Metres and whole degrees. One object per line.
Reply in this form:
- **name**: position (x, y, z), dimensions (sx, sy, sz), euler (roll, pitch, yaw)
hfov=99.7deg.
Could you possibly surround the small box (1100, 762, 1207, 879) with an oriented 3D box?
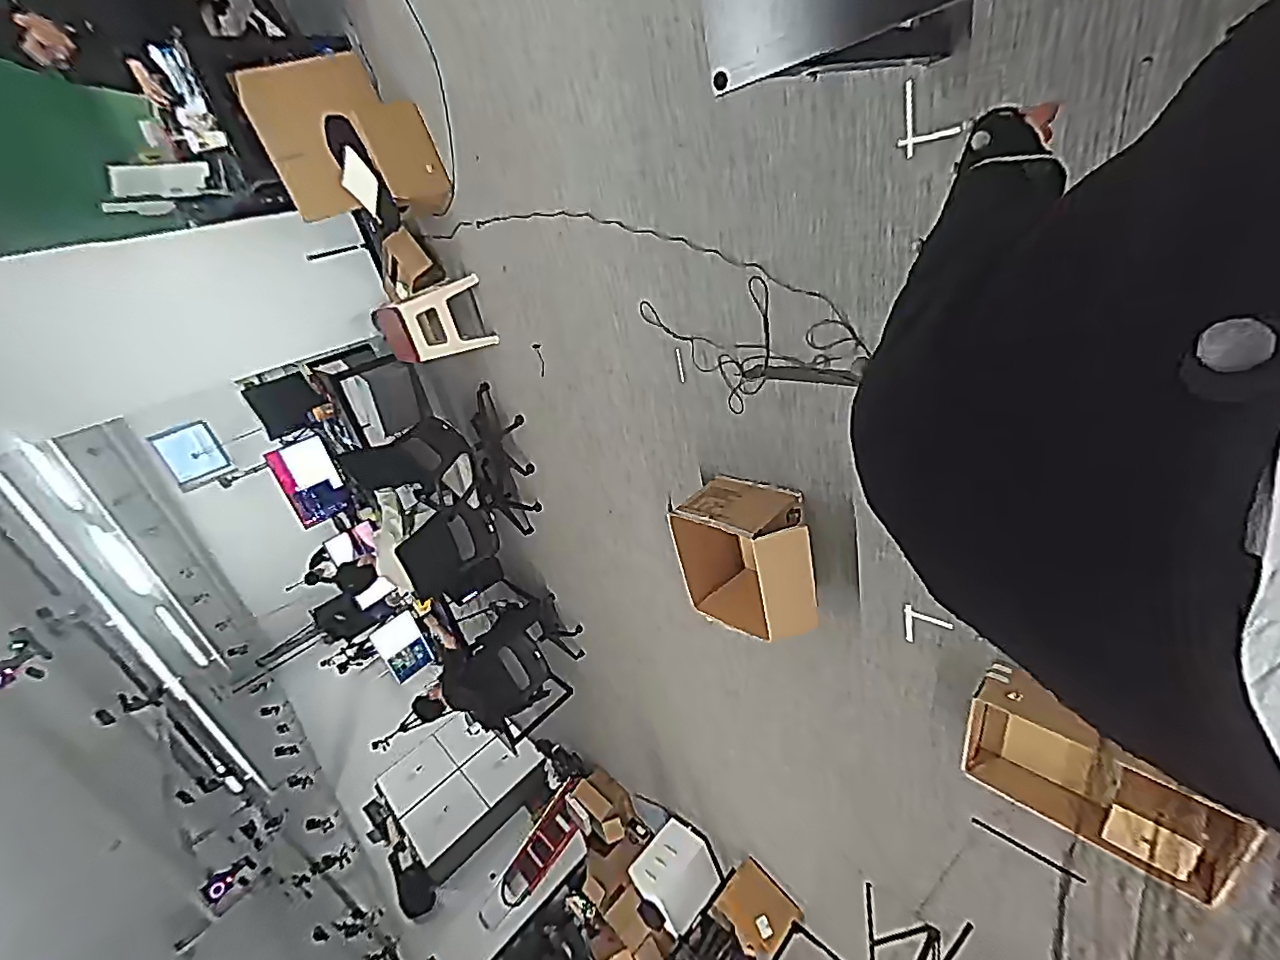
- **small box**: position (1.410, 0.925, 1.485), dimensions (0.179, 0.176, 0.168), euler (19, 129, 45)
